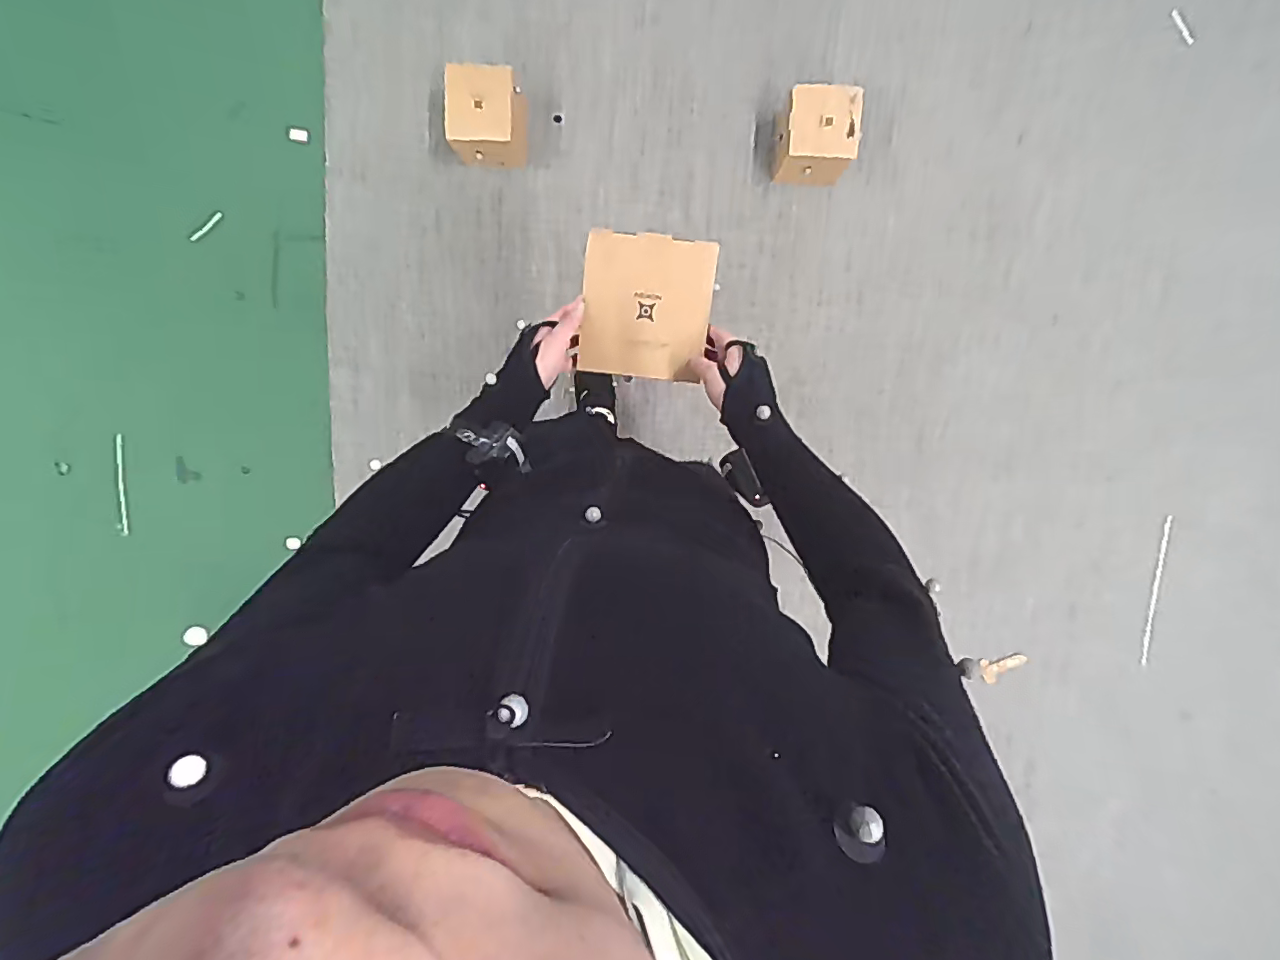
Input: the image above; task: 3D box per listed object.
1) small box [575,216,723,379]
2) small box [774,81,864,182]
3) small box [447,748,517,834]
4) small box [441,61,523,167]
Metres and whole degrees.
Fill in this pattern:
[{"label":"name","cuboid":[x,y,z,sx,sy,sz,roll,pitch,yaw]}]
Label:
[{"label":"small box","cuboid":[0.009,-0.241,0.745,0.168,0.176,0.179,7,104,-1]},{"label":"small box","cuboid":[0.450,-0.886,1.389,0.179,0.176,0.168,3,99,0]},{"label":"small box","cuboid":[-0.480,0.951,1.666,0.168,0.176,0.179,-1,99,1]},{"label":"small box","cuboid":[-0.400,-0.931,1.391,0.168,0.176,0.179,2,97,1]}]
